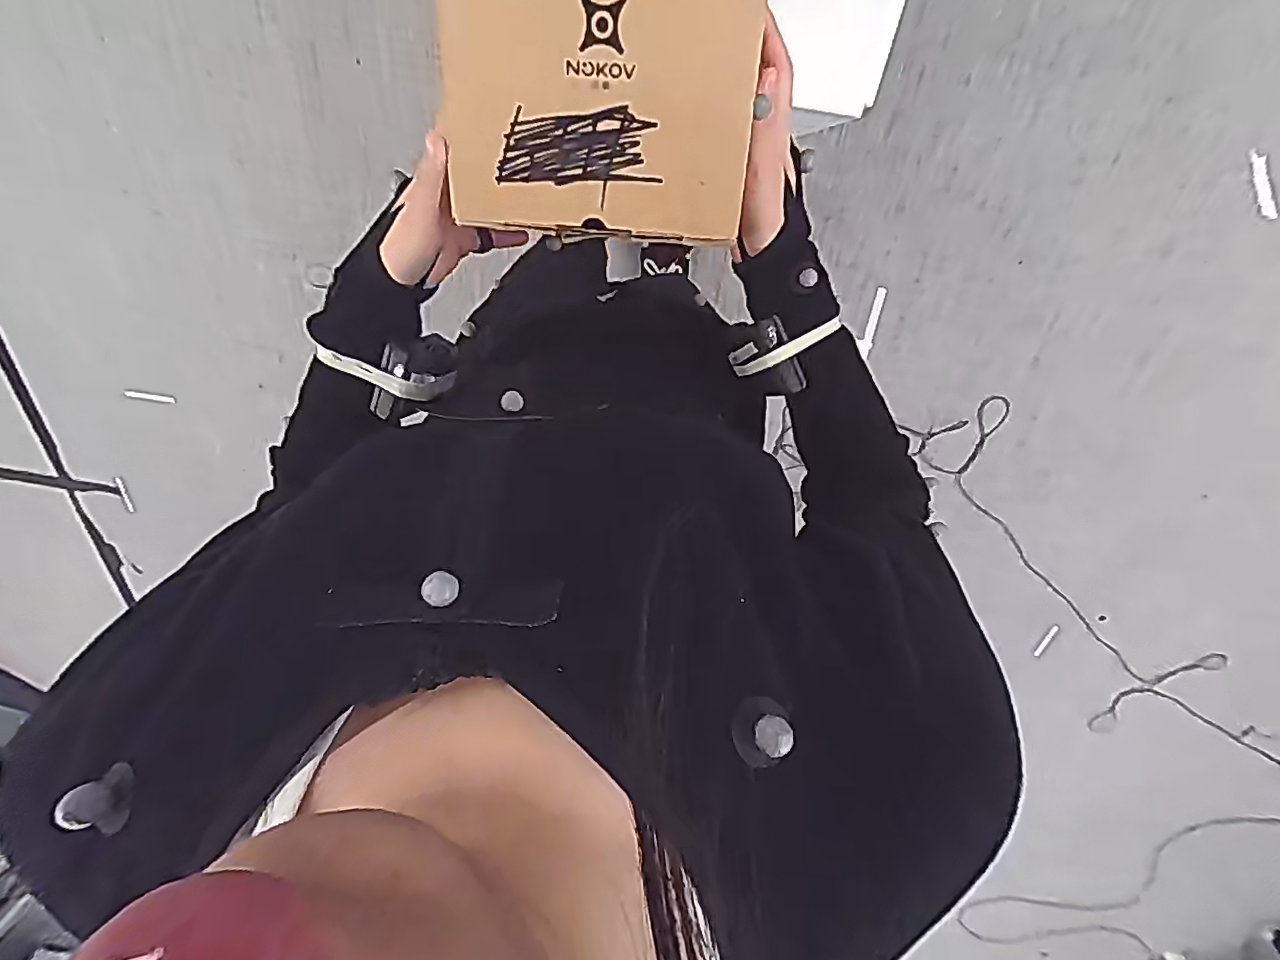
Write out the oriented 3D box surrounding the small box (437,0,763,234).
[{"bbox_3d":[-0.016,-0.259,0.346,0.168,0.176,0.179,5,113,1],"label":"small box"}]
